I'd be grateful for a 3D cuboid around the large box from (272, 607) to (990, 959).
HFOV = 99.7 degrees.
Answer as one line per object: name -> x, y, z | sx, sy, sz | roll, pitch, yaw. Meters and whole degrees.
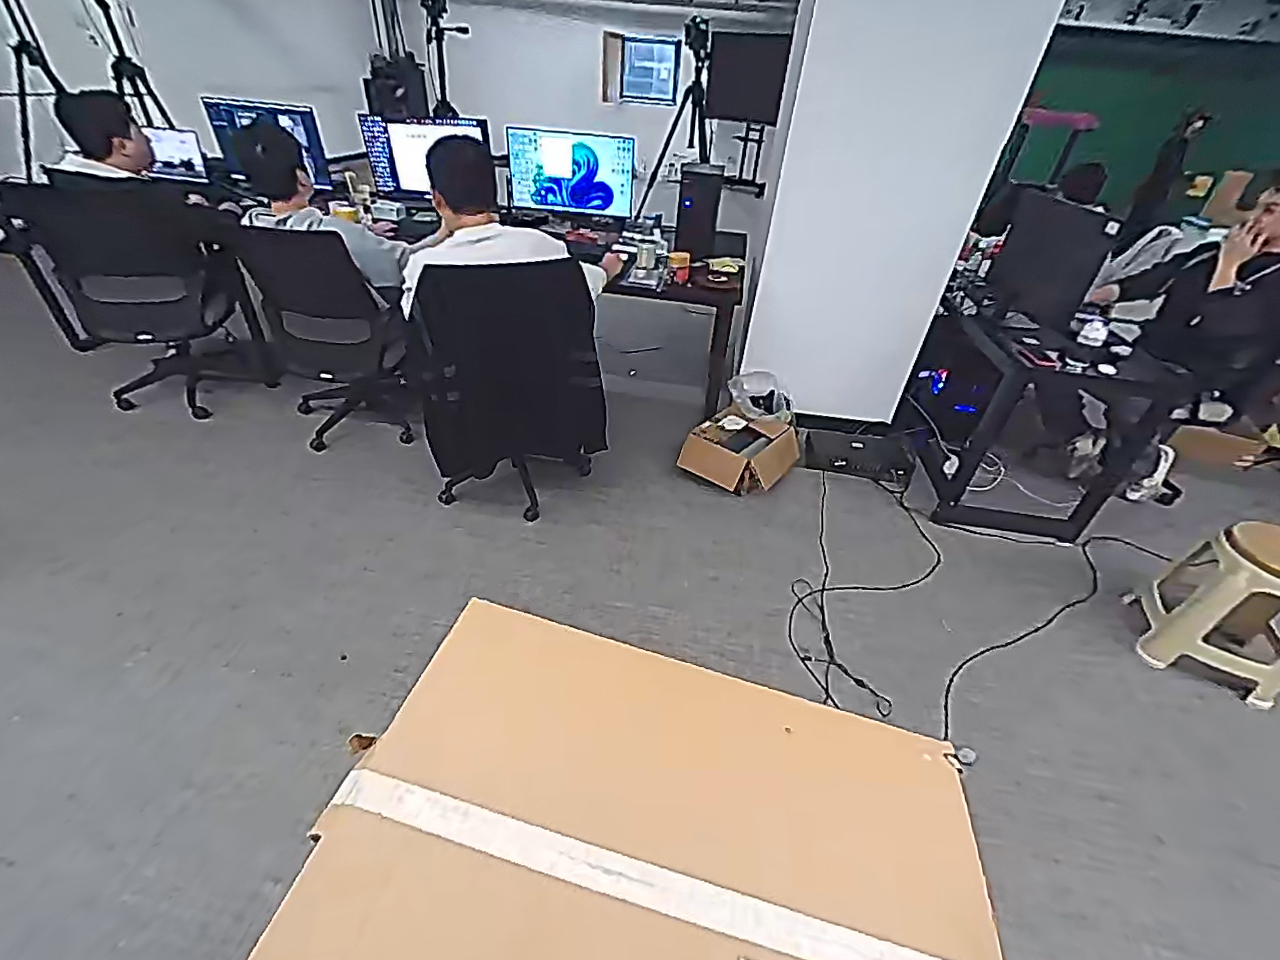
large box -> -0.009, 0.362, 0.423 | 0.408, 0.320, 0.320 | 17, 39, 4
